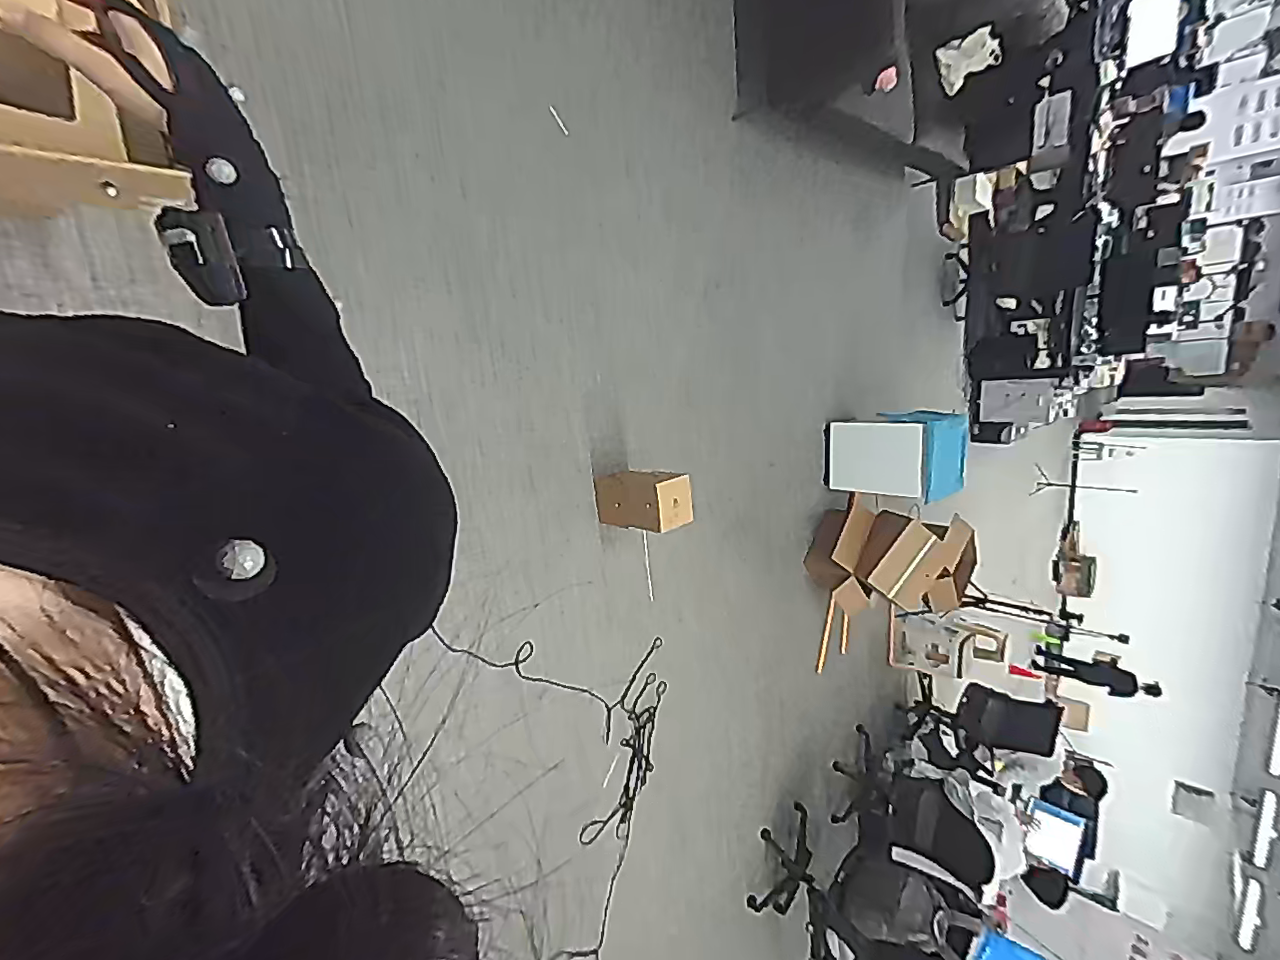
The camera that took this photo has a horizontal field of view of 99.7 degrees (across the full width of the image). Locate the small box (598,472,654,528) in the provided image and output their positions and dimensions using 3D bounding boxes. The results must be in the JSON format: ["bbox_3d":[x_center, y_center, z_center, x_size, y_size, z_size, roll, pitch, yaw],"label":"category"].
[{"bbox_3d":[-0.041,0.068,2.014,0.168,0.176,0.179,-17,107,-41],"label":"small box"}]

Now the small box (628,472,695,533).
[{"bbox_3d":[0.071,0.071,1.894,0.168,0.176,0.179,-16,106,-41],"label":"small box"}]

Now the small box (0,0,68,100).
[{"bbox_3d":[-0.467,-0.357,0.313,0.179,0.176,0.168,-8,105,-44],"label":"small box"}]
